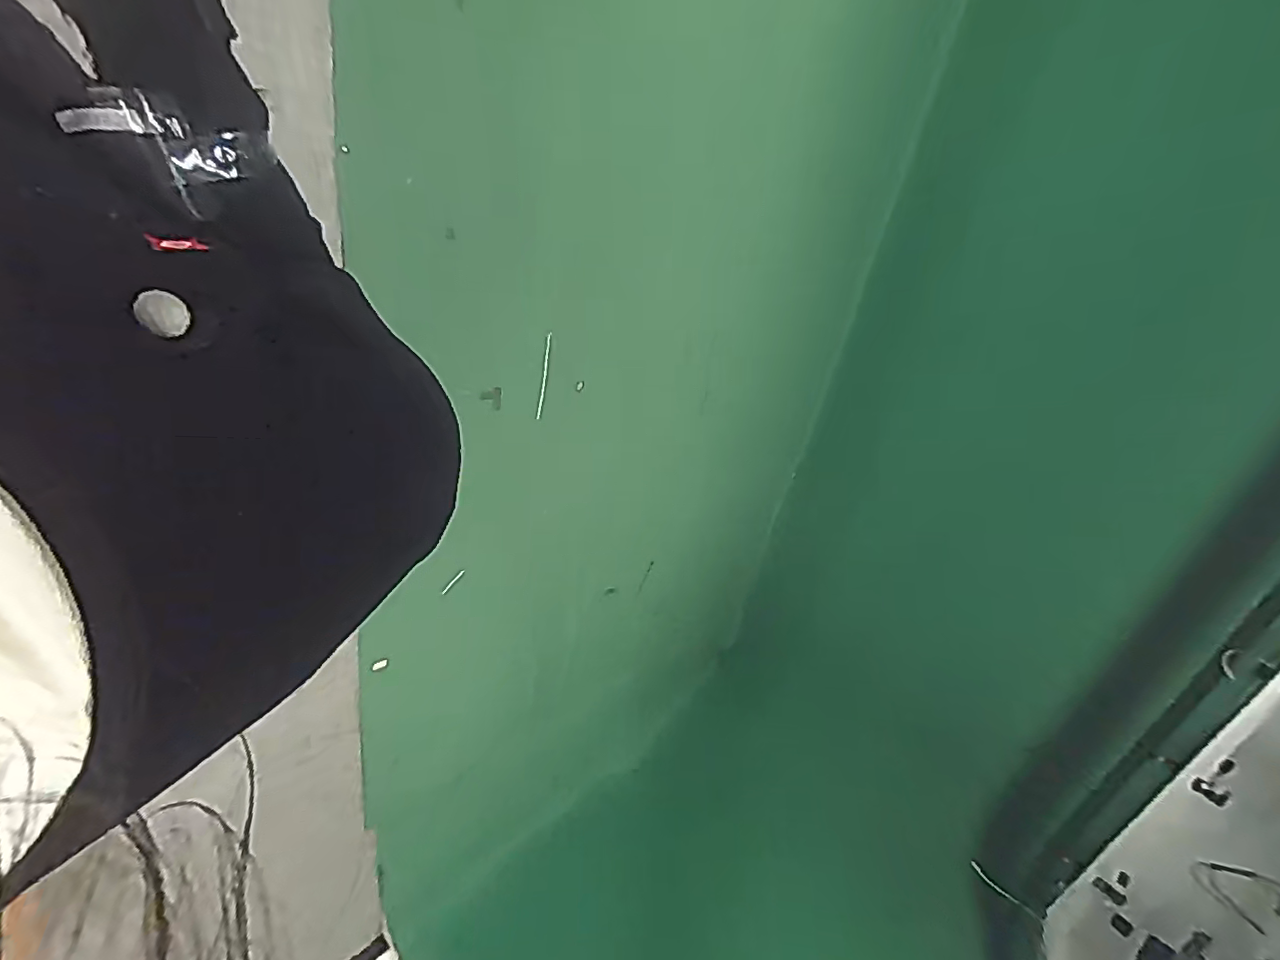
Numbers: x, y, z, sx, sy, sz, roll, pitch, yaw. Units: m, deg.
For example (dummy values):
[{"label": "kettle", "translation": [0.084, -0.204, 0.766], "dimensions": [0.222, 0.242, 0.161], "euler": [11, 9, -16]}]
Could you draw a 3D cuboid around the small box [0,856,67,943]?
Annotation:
[{"label": "small box", "translation": [-1.548, 1.081, 1.314], "dimensions": [0.179, 0.176, 0.168], "euler": [-18, 130, -47]}]

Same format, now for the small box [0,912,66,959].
[{"label": "small box", "translation": [-1.432, 1.150, 1.222], "dimensions": [0.179, 0.176, 0.168], "euler": [-14, 127, -47]}]
